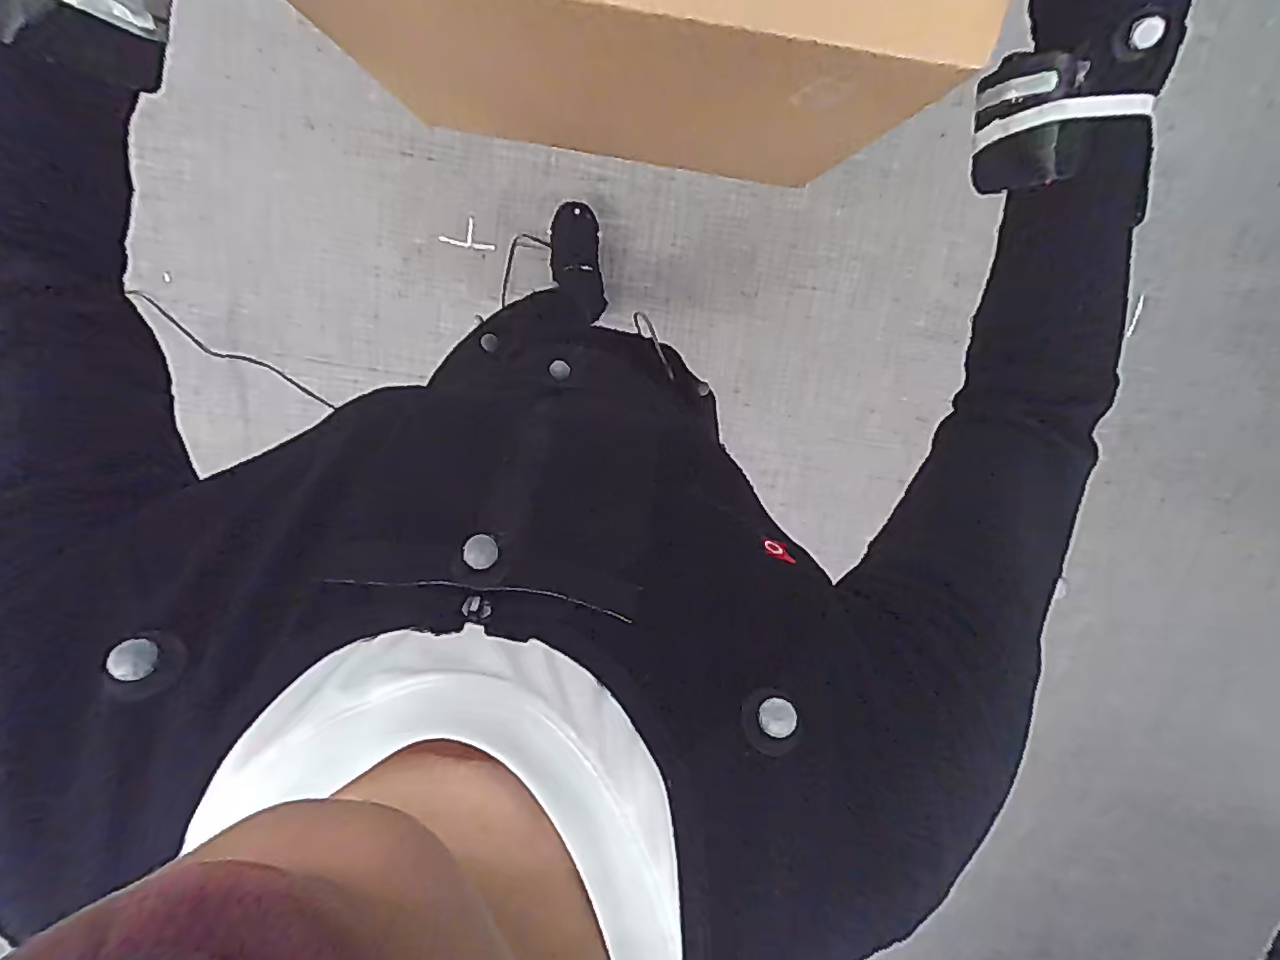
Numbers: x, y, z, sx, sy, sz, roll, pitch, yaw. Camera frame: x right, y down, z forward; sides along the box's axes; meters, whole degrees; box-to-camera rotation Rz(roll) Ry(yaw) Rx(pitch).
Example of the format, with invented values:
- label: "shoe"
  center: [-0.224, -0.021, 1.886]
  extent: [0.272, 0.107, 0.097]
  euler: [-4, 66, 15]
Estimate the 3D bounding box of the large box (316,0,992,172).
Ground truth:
- label: "large box"
  center: [0.003, -0.447, 0.383]
  extent: [0.408, 0.320, 0.320]
  euler: [6, 108, -4]
